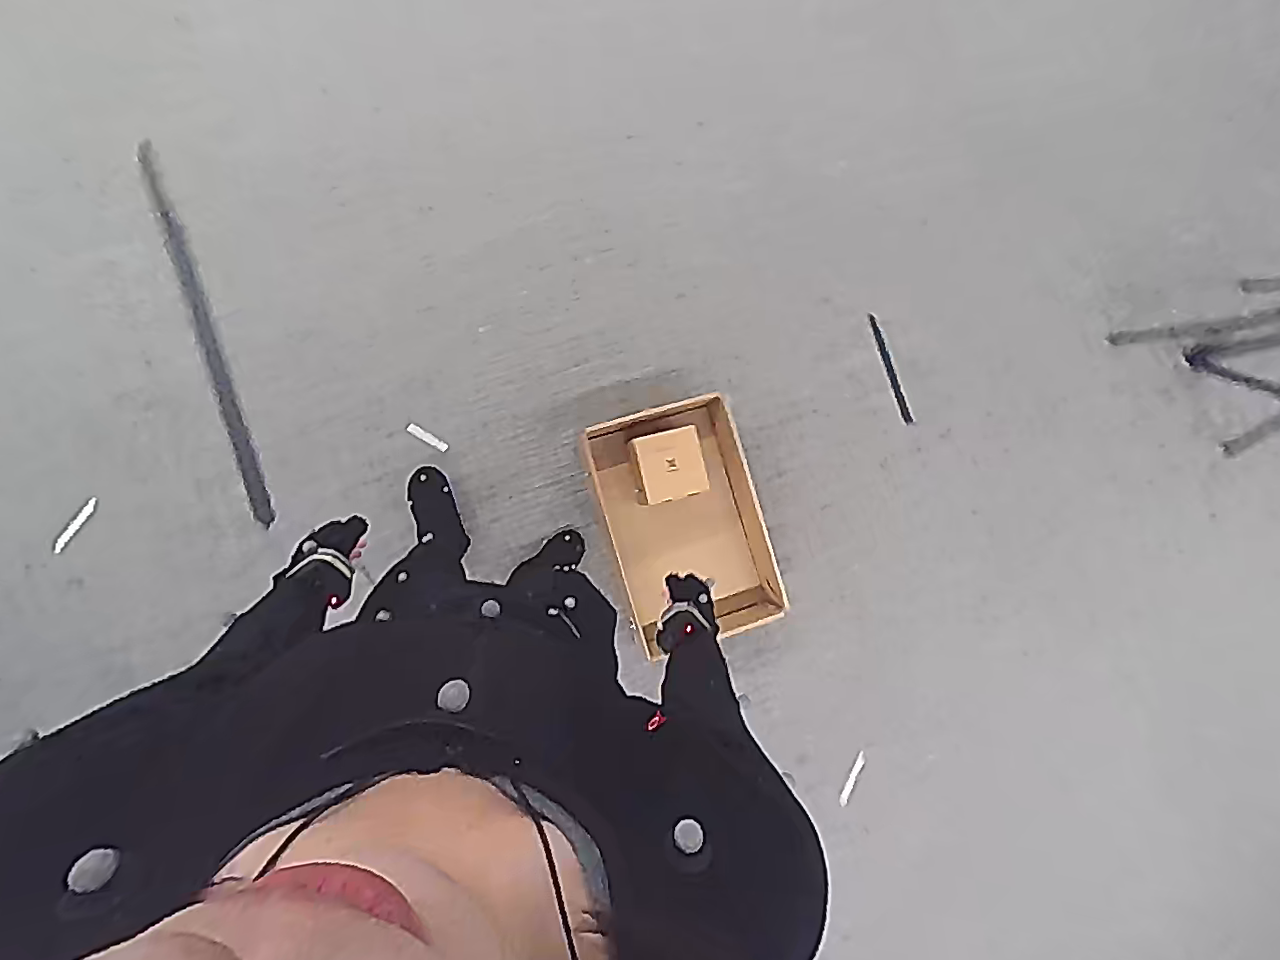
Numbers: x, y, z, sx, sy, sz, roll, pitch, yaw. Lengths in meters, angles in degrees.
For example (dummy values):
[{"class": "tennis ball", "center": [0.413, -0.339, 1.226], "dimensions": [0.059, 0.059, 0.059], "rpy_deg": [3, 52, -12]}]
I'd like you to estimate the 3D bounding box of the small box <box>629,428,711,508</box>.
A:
[{"class": "small box", "center": [0.074, -0.029, 1.443], "dimensions": [0.168, 0.176, 0.179], "rpy_deg": [-13, 89, -9]}]
